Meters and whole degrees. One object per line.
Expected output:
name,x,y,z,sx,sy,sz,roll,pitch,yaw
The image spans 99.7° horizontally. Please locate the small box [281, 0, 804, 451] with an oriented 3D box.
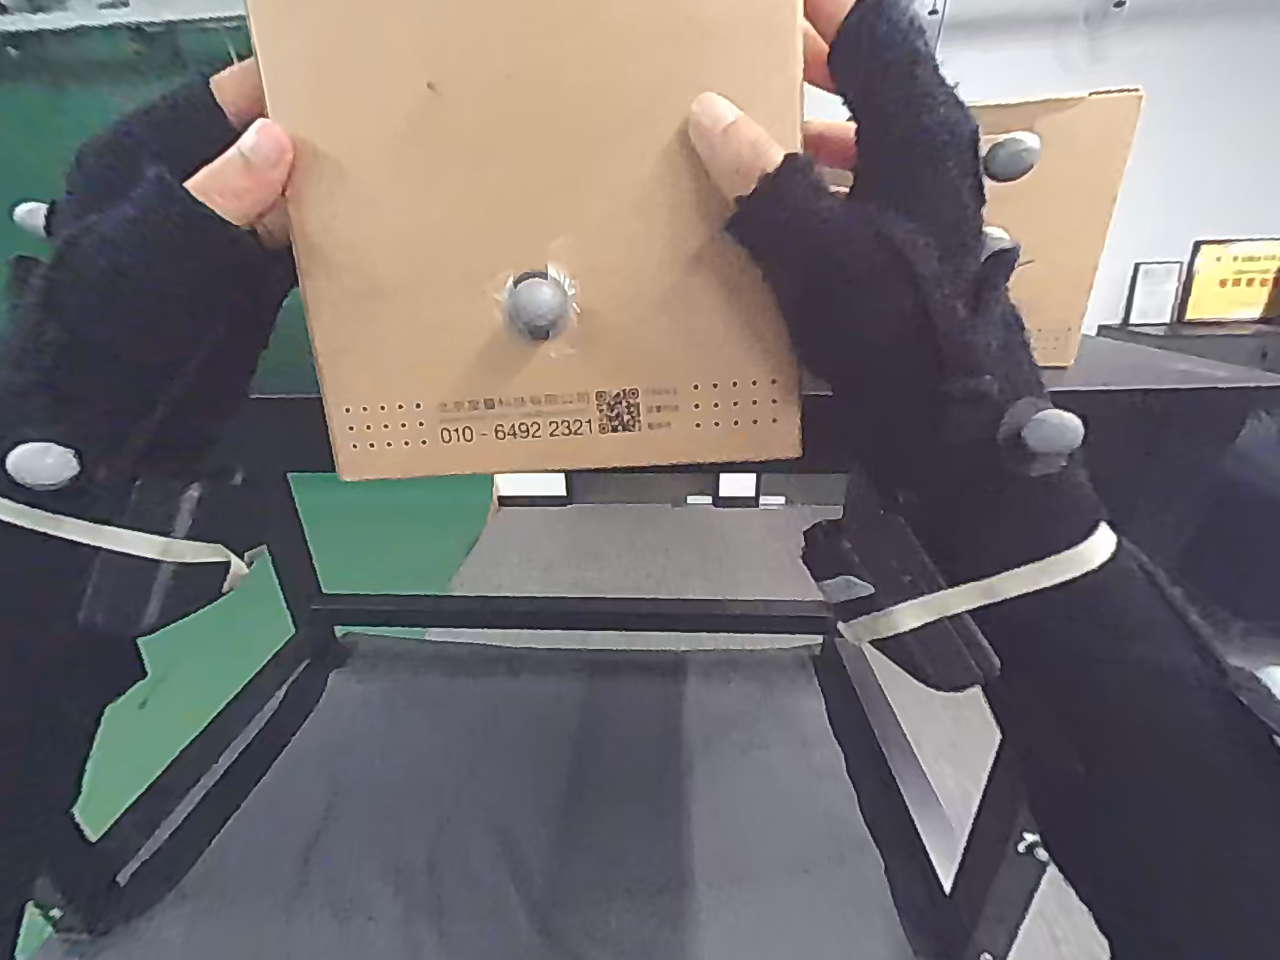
small box,-0.025,-0.109,0.253,0.168,0.176,0.179,-3,13,5
